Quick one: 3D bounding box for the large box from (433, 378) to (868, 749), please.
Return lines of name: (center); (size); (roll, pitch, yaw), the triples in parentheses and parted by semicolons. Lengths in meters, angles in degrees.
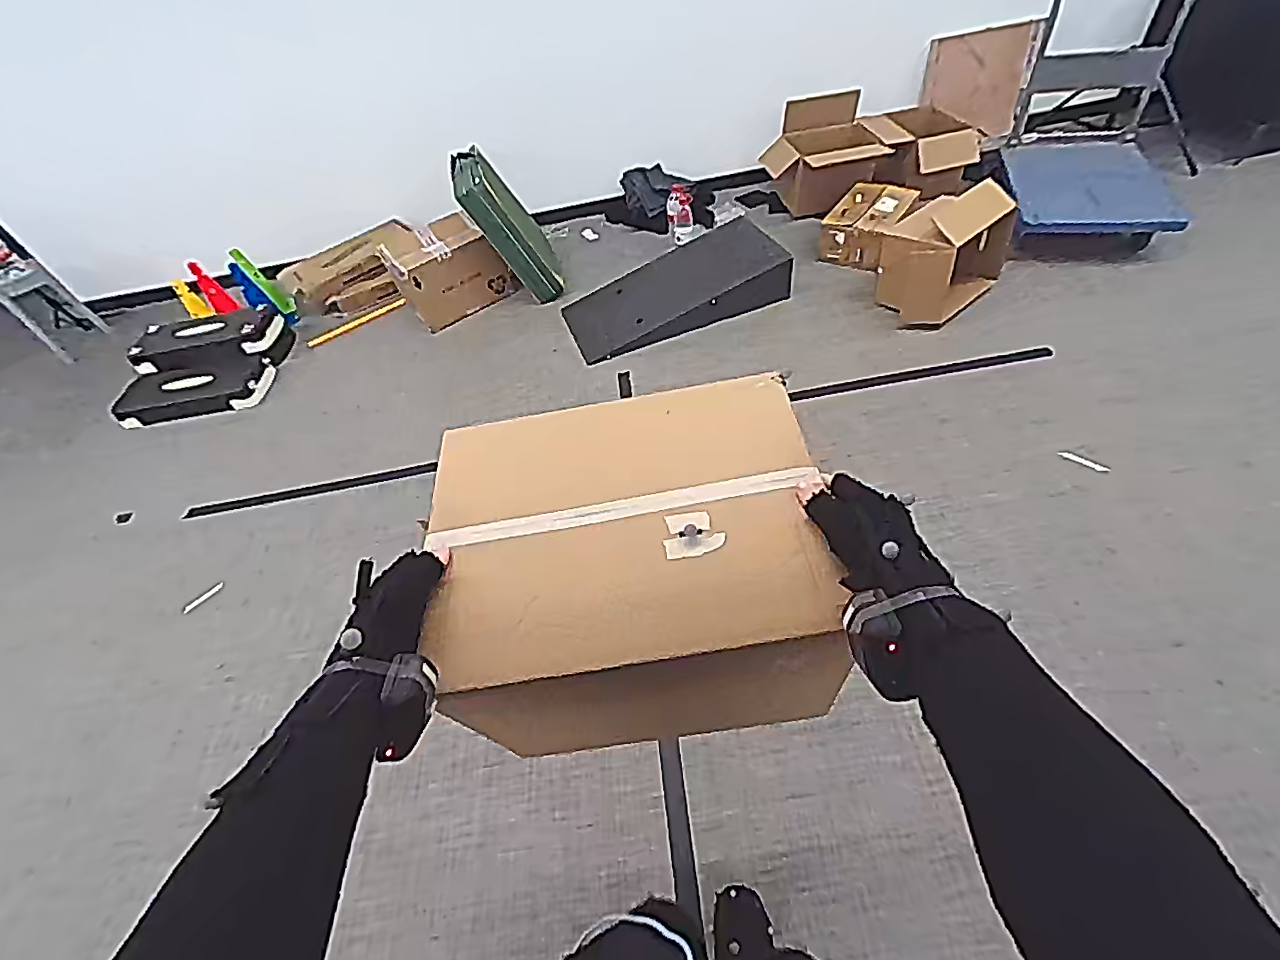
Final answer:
large box: (0.008, 0.119, 0.685); (0.408, 0.320, 0.320); (-10, 54, 2)
